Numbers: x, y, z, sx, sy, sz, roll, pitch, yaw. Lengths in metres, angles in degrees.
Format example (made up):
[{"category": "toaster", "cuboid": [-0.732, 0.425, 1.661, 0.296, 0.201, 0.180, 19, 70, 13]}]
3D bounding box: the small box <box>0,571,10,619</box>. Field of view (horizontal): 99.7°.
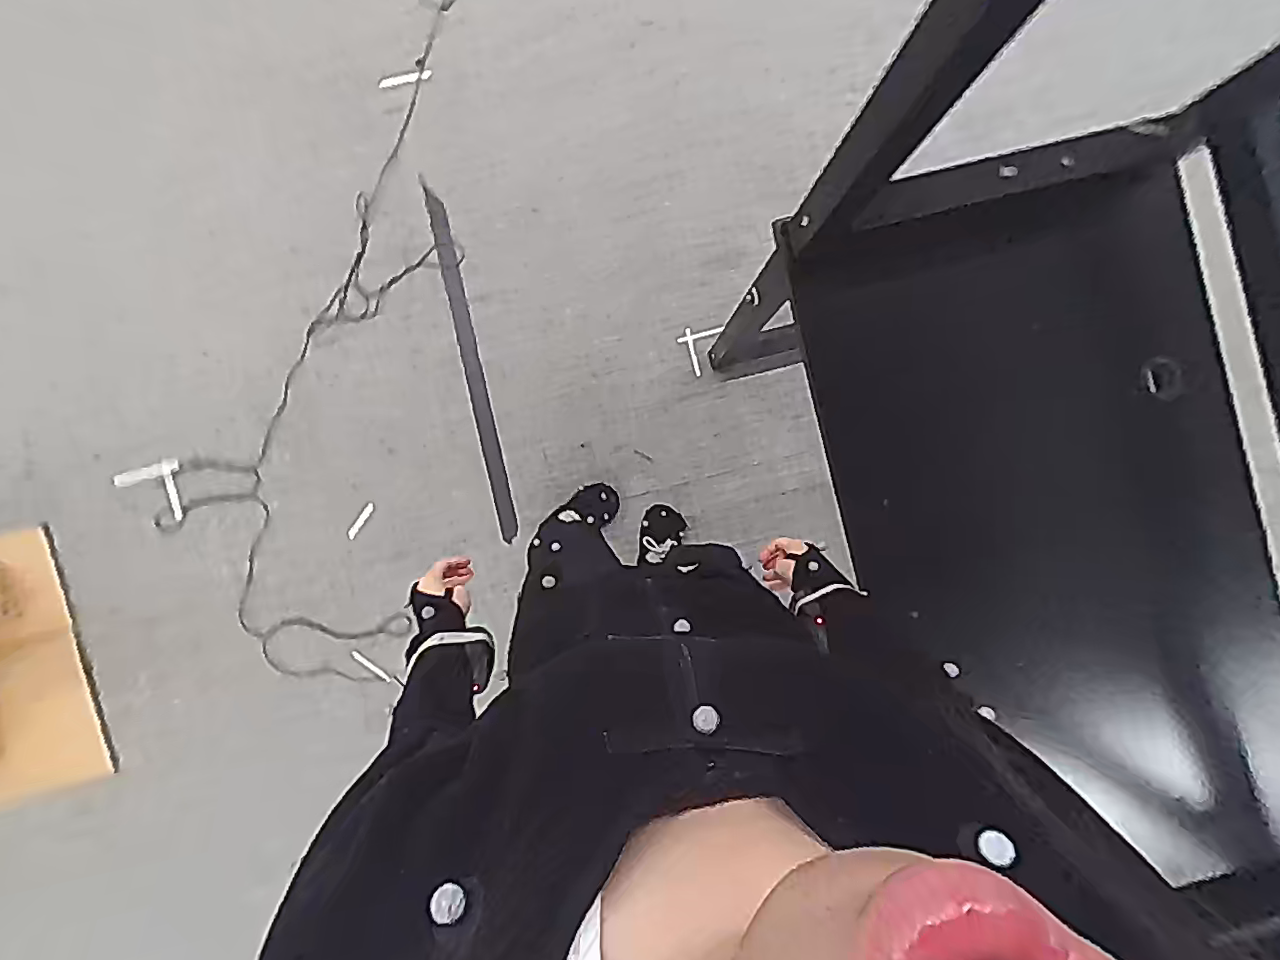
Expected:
[{"category": "small box", "cuboid": [-1.736, 0.302, 1.334, 0.179, 0.176, 0.168, -20, 91, -2]}]
